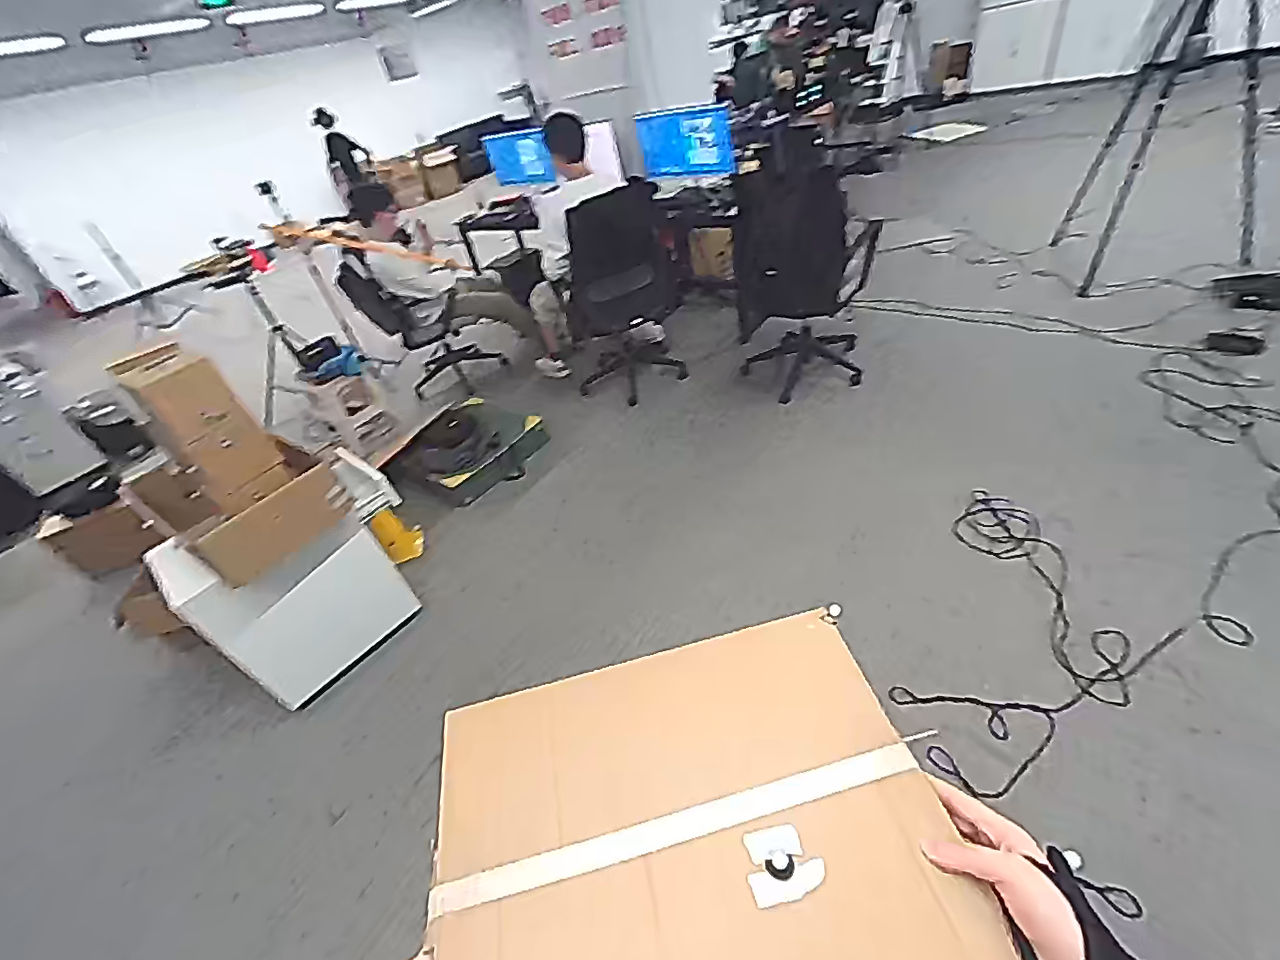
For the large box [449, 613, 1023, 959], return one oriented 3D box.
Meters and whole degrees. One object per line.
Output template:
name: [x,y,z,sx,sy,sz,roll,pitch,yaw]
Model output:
large box: [0.055,0.395,0.553,0.408,0.320,0.320,-13,42,-5]
